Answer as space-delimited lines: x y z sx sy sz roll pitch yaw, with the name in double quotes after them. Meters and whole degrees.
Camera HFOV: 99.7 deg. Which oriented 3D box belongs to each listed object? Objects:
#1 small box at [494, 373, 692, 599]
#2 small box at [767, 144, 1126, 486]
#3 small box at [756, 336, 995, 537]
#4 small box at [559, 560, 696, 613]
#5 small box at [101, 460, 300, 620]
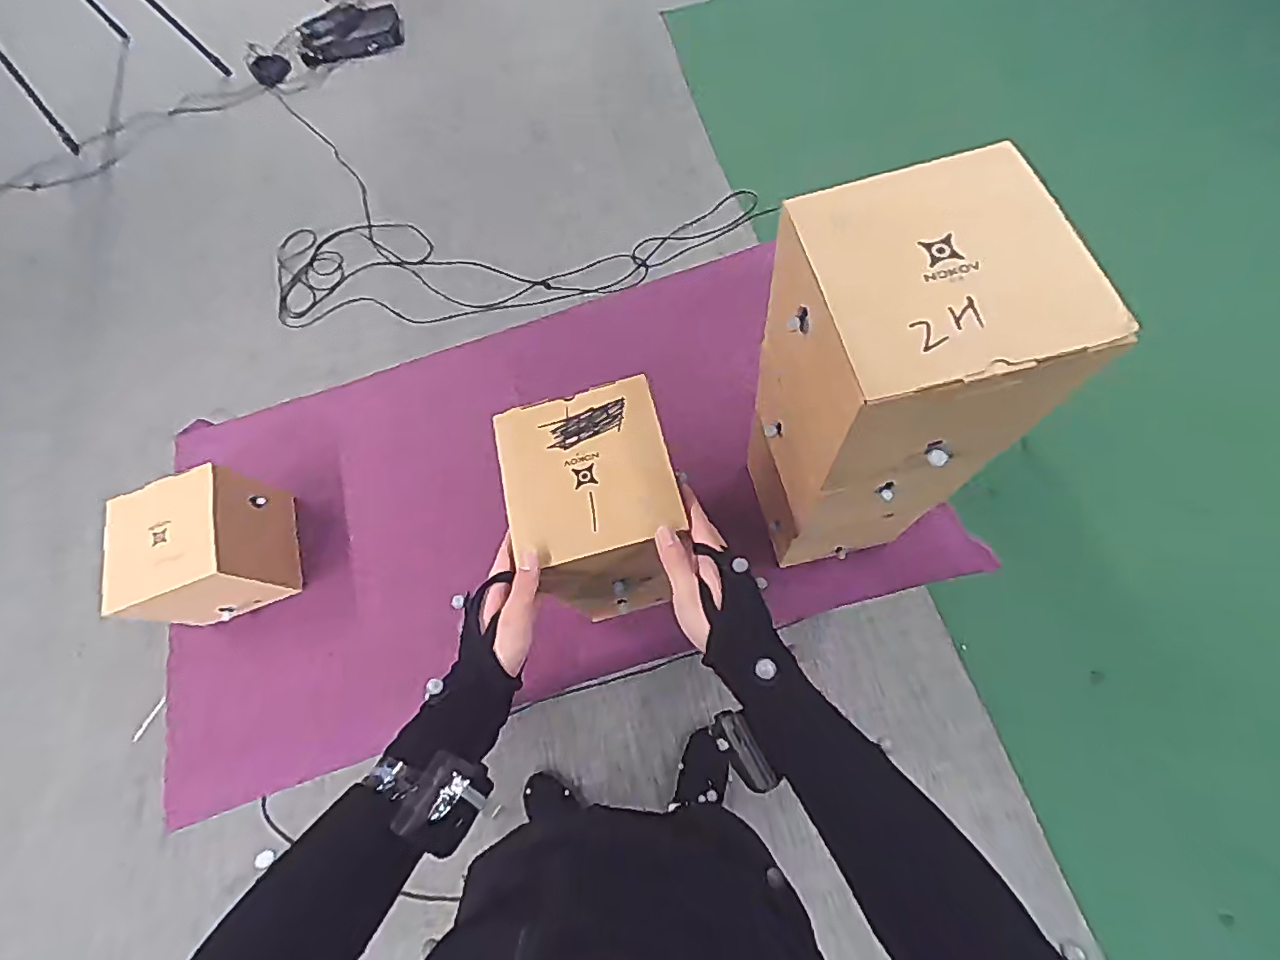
-0.044 0.016 0.597 0.168 0.176 0.179 -16 67 3 "small box"
0.207 -0.116 0.431 0.168 0.176 0.179 -13 69 4 "small box"
0.228 -0.056 0.583 0.168 0.176 0.179 -14 67 4 "small box"
-0.024 0.078 0.748 0.168 0.176 0.179 -16 67 2 "small box"
-0.655 0.098 0.824 0.168 0.176 0.179 -20 69 0 "small box"
